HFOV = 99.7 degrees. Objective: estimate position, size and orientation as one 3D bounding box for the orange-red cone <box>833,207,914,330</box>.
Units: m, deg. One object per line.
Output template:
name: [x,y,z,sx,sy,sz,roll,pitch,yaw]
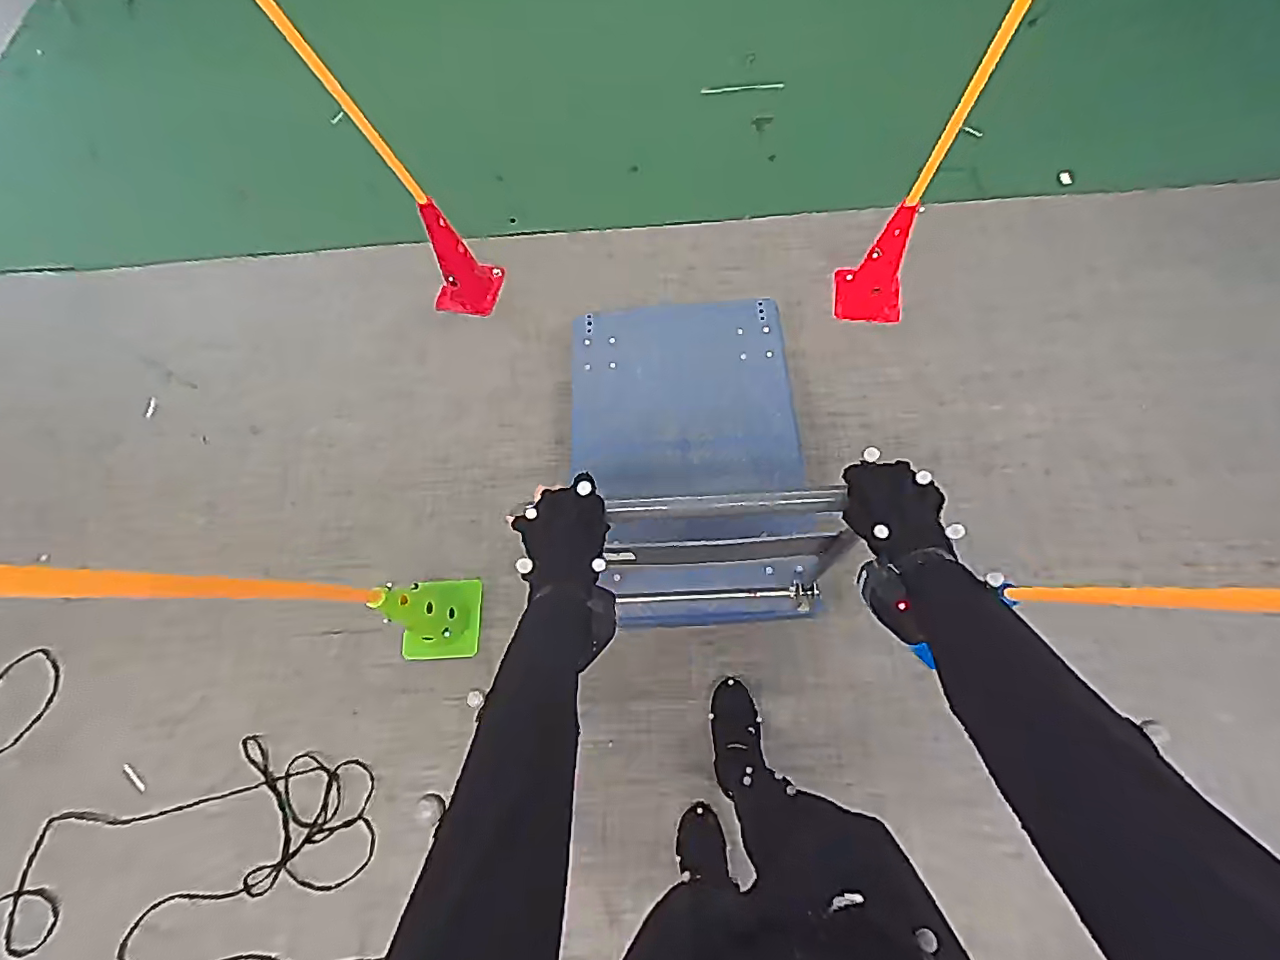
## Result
orange-red cone: [0.701,-0.621,1.547,0.198,0.360,0.199,7,70,8]
